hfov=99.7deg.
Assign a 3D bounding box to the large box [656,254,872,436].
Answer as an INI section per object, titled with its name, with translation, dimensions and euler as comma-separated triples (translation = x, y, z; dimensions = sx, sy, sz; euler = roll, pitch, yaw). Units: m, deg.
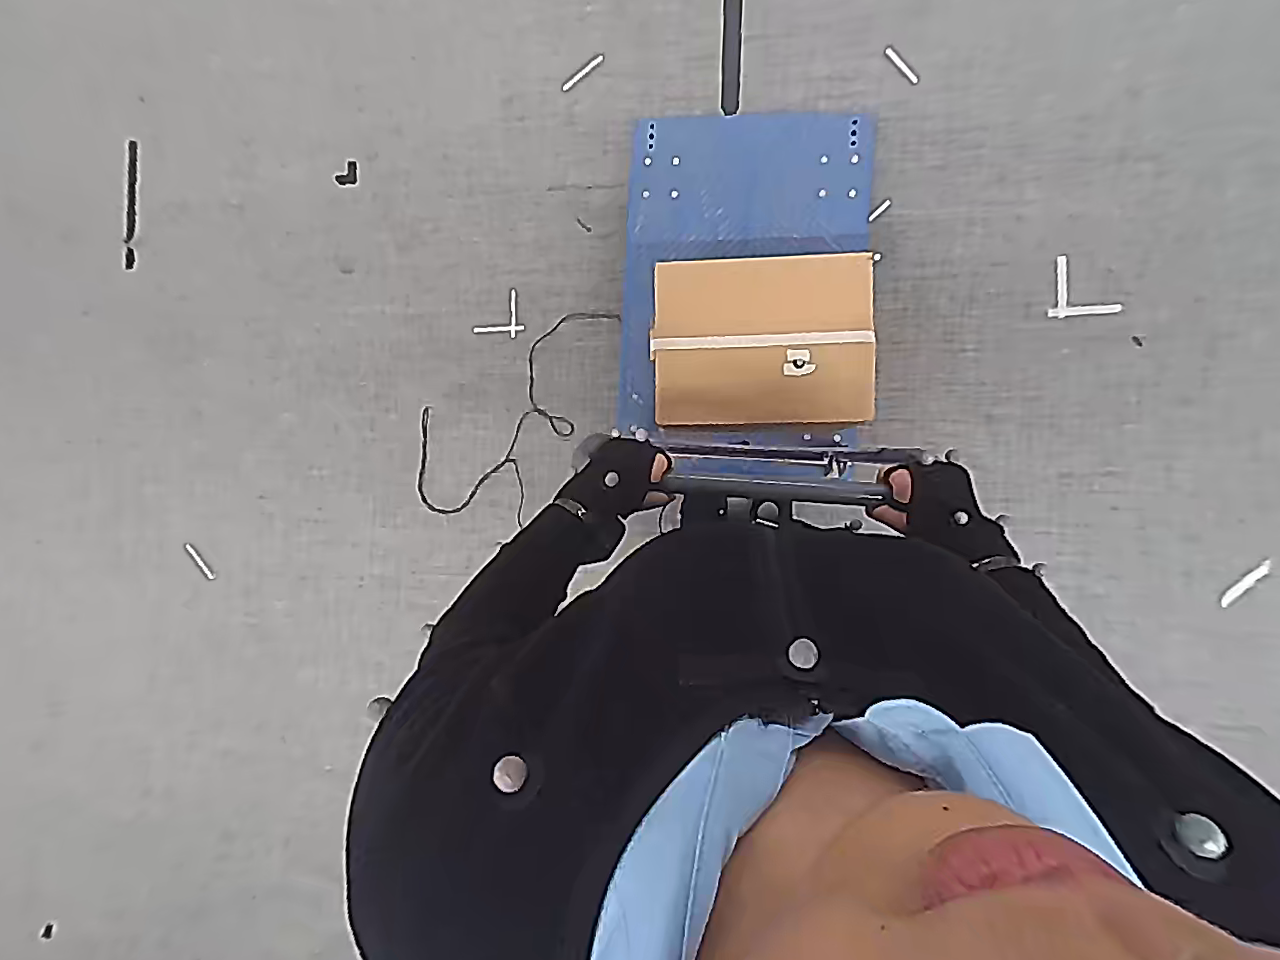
[large box]
translation = 0.246, -0.266, 1.176
dimensions = 0.408, 0.320, 0.320
euler = -1, 91, 6
